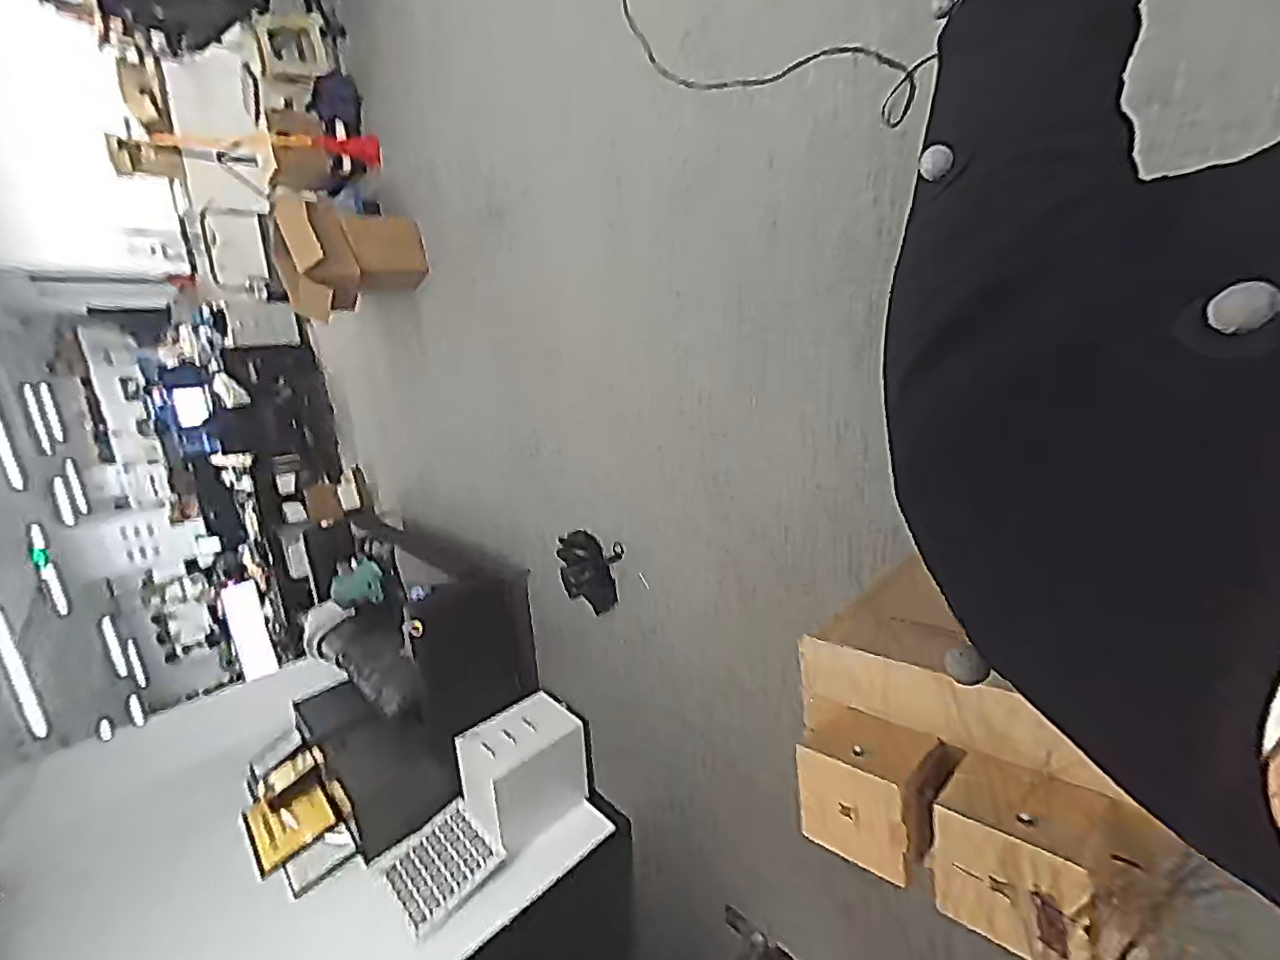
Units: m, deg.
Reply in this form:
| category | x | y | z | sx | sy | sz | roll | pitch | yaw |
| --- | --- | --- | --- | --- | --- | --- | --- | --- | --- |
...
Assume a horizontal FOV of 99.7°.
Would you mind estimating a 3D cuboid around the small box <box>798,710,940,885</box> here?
| category | x | y | z | sx | sy | sz | roll | pitch | yaw |
| --- | --- | --- | --- | --- | --- | --- | --- | --- | --- |
| small box | 0.394 | 0.520 | 0.920 | 0.179 | 0.176 | 0.168 | 0 | 96 | 49 |

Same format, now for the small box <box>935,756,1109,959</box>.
| category | x | y | z | sx | sy | sz | roll | pitch | yaw |
| --- | --- | --- | --- | --- | --- | --- | --- | --- | --- |
| small box | 0.539 | 0.525 | 0.762 | 0.179 | 0.176 | 0.168 | 2 | 98 | 47 |
